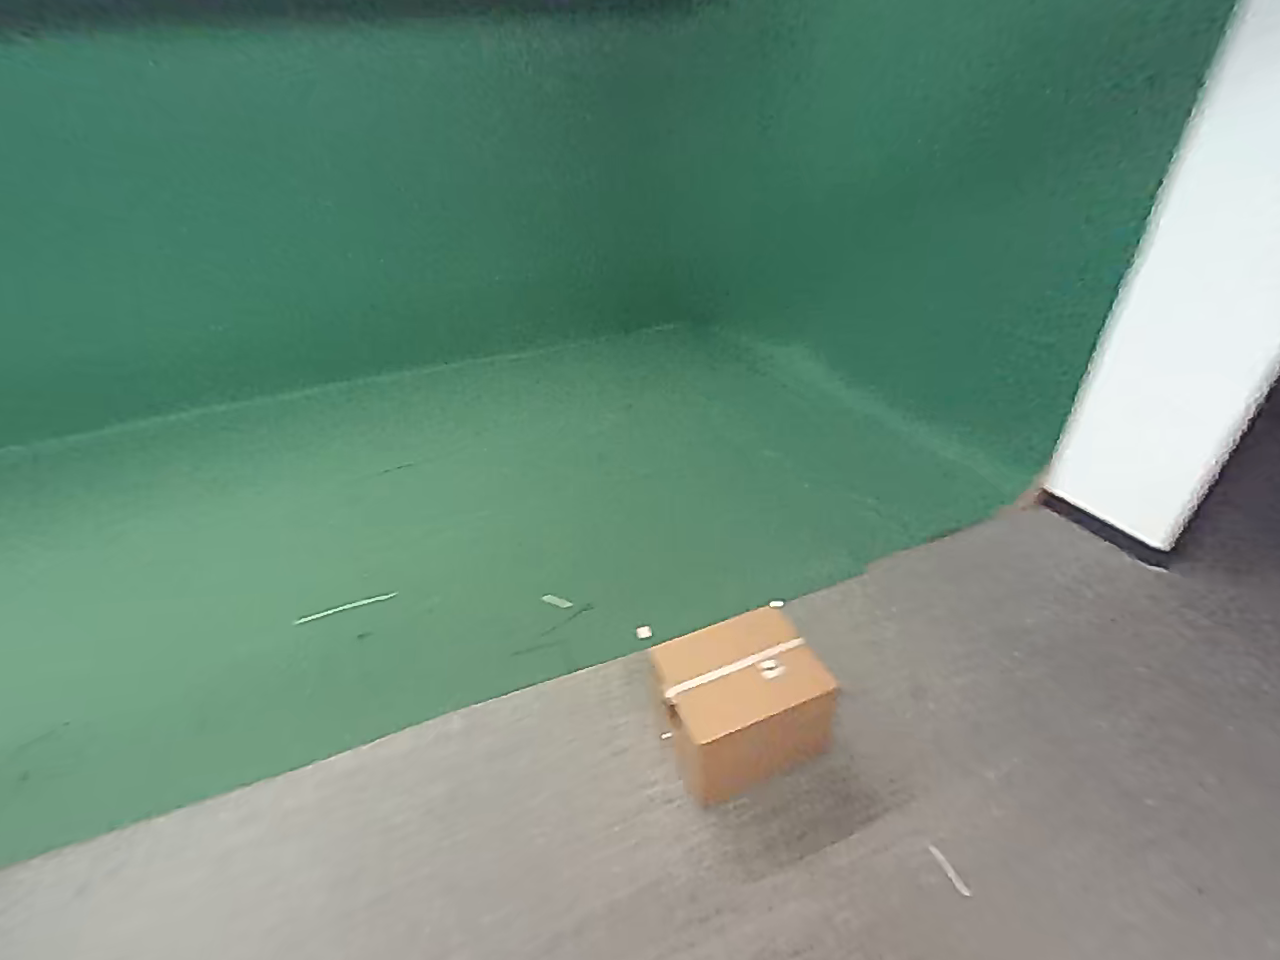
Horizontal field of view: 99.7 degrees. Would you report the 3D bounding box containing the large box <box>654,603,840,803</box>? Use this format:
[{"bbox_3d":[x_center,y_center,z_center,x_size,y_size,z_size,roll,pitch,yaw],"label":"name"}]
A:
[{"bbox_3d":[0.284,0.612,1.516,0.408,0.320,0.320,-14,35,-15],"label":"large box"}]
